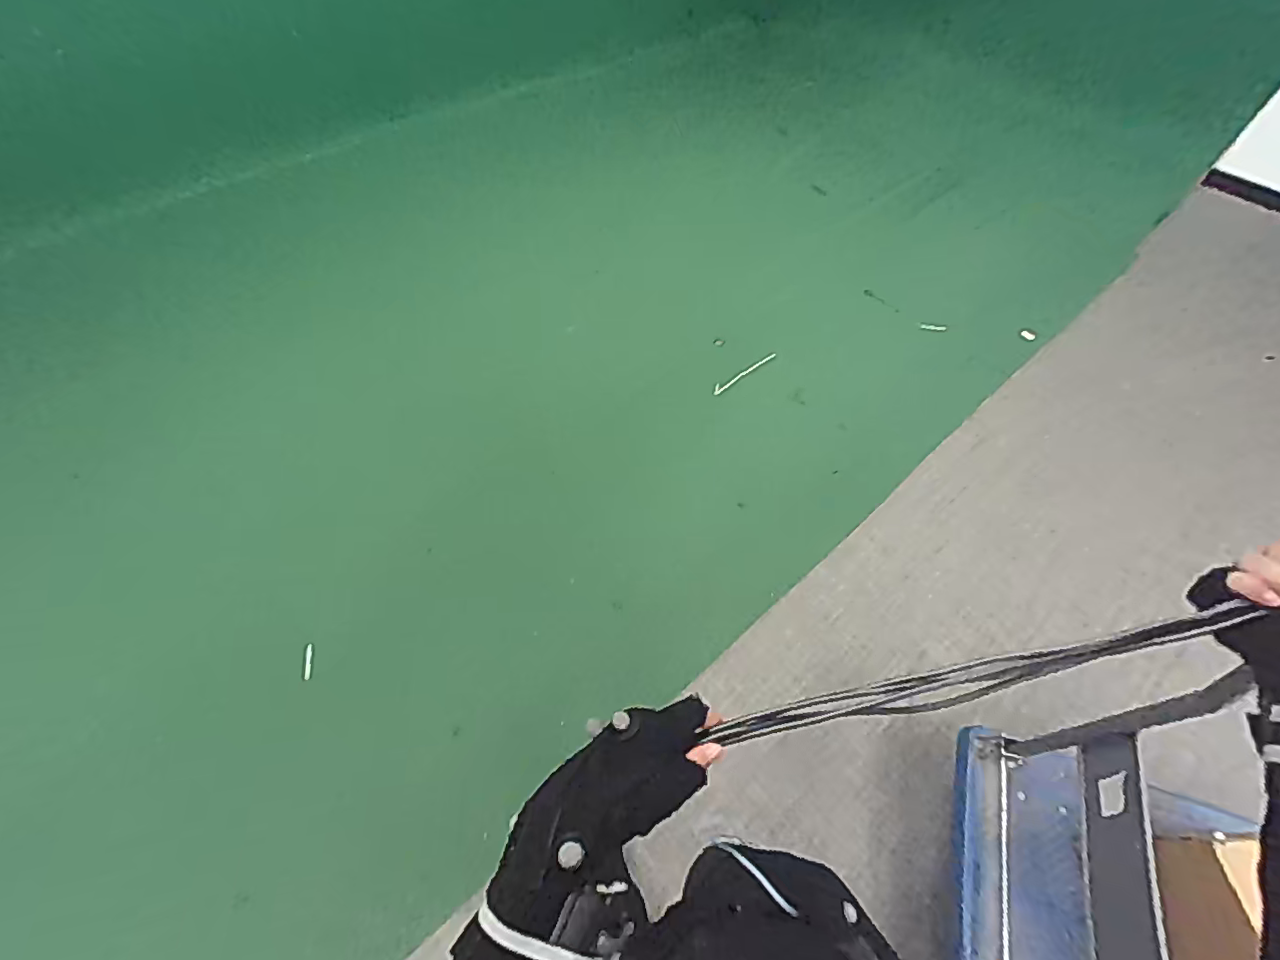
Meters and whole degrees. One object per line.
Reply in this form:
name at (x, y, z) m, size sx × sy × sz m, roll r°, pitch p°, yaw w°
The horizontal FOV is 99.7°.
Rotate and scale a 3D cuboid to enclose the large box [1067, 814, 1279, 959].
large box at (1.005, 0.774, 0.852) m, size 0.320 × 0.320 × 0.408 m, roll -1°, pitch 56°, yaw -2°
